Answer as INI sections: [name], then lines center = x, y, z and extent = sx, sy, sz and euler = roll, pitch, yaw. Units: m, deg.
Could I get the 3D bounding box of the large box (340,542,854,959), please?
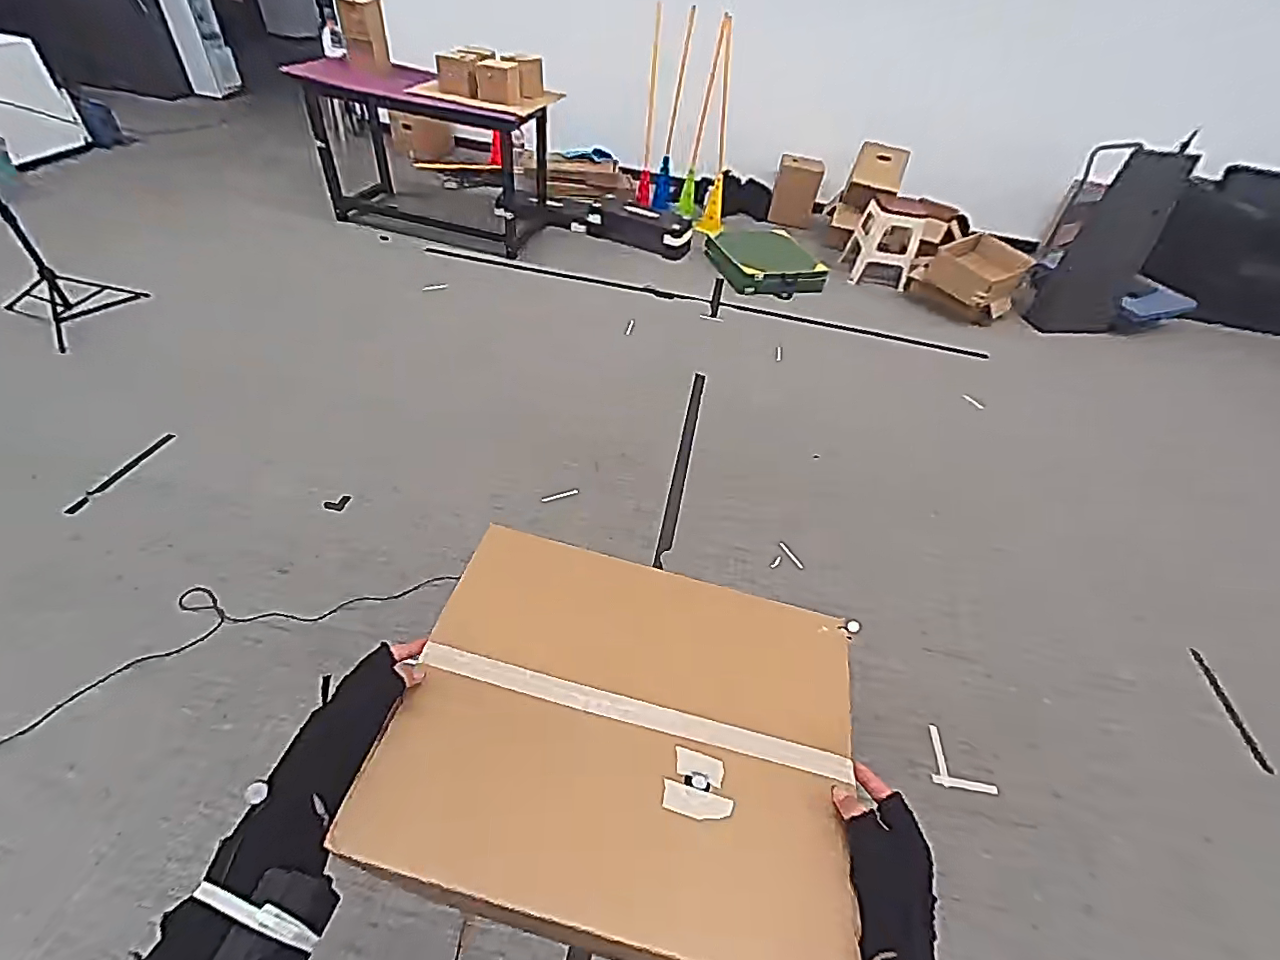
[large box]
center = -0.028, 0.322, 0.606
extent = 0.408, 0.320, 0.320
euler = 15, 49, 2
